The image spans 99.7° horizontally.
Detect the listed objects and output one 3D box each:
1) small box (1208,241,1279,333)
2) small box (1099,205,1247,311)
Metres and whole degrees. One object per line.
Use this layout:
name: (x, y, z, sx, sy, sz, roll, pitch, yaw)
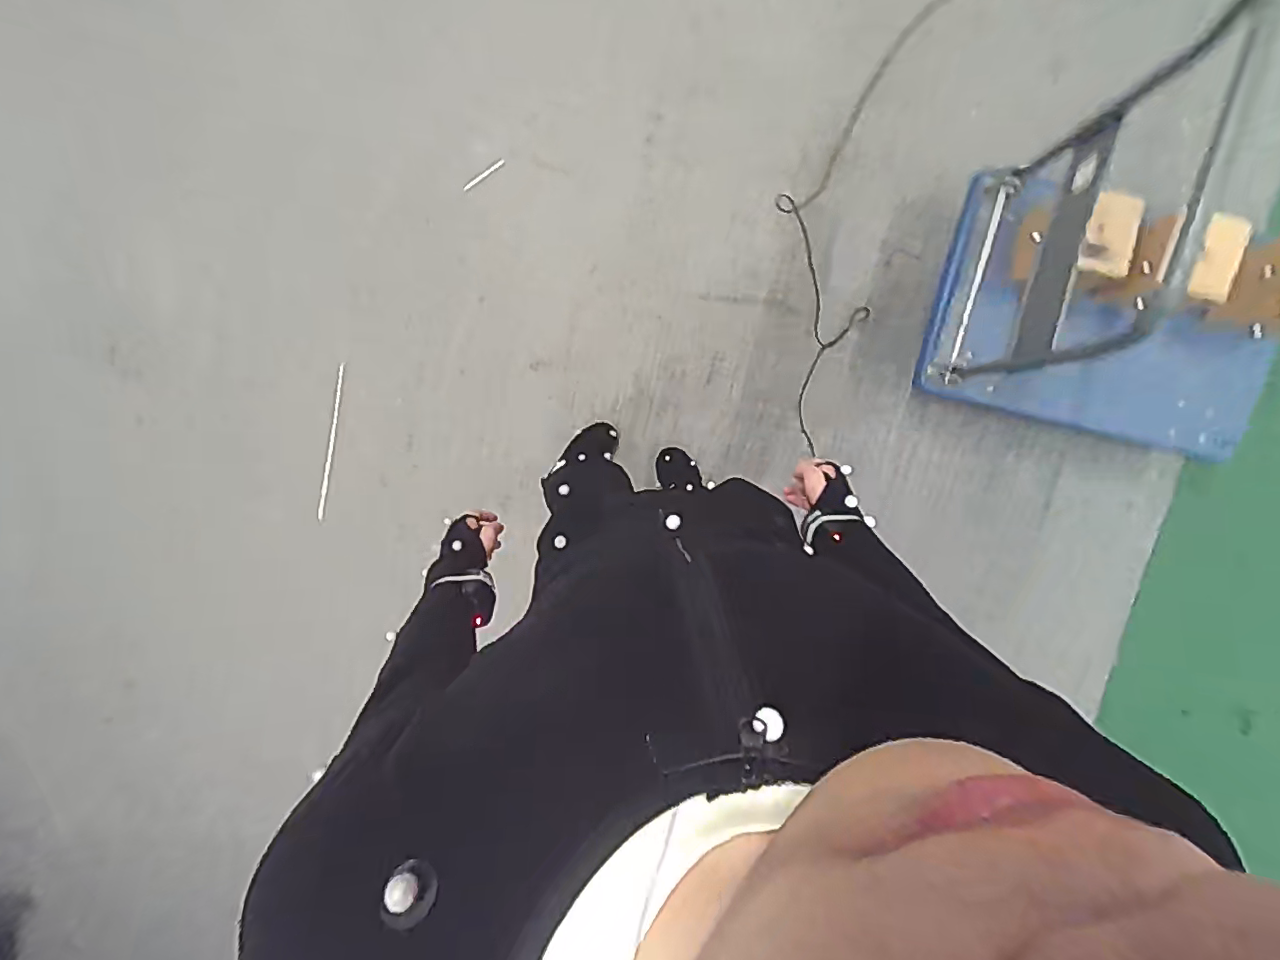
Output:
small box: (1.544, -0.468, 1.300, 0.168, 0.176, 0.179, 12, 96, 1)
small box: (1.270, -0.526, 1.304, 0.168, 0.176, 0.179, 13, 97, -1)
